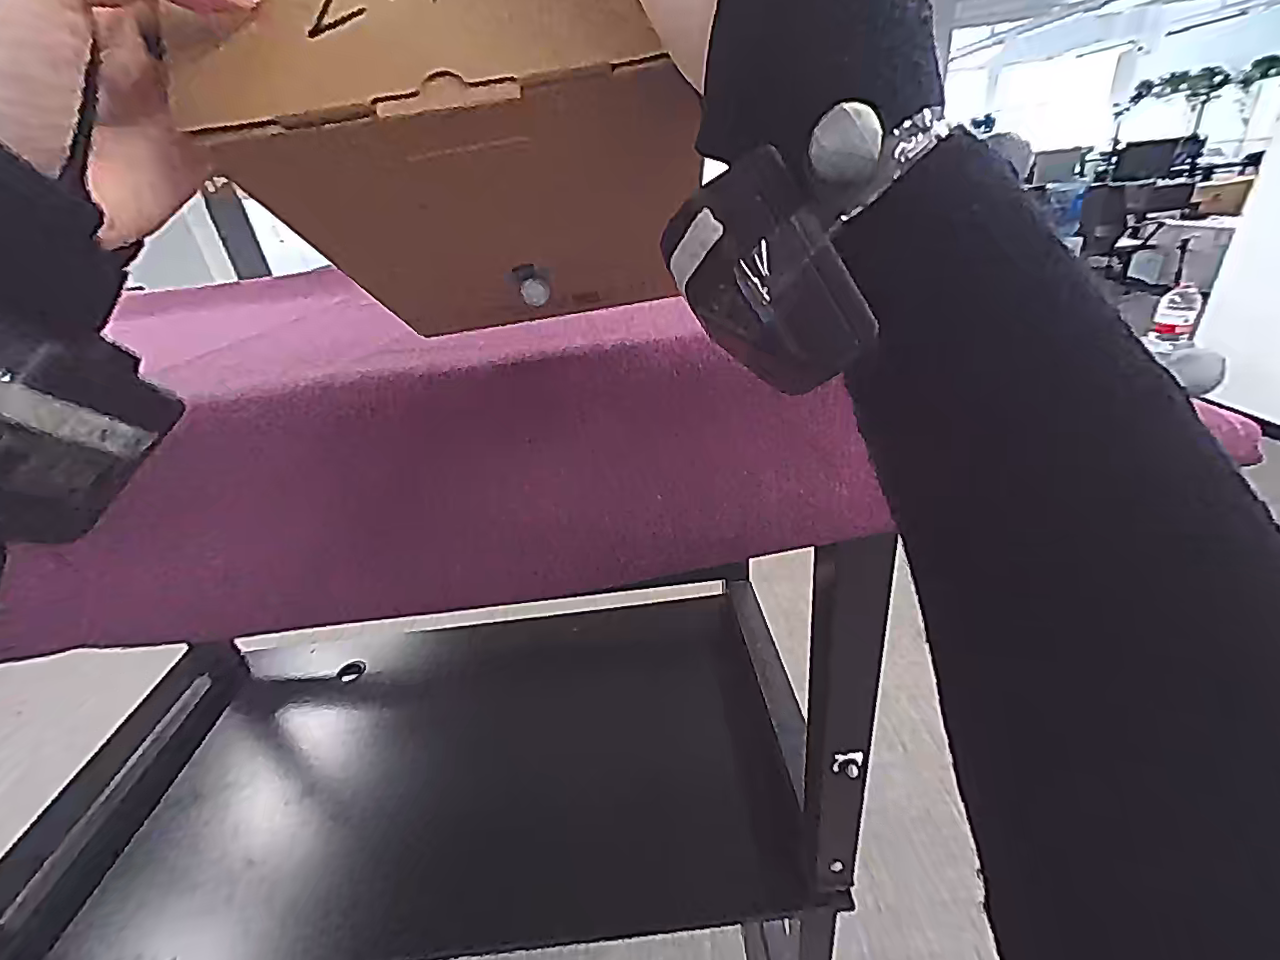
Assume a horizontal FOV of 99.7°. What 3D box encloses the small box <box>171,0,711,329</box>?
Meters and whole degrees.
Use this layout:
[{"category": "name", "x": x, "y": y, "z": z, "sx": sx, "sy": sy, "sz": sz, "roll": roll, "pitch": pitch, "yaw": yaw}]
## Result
[{"category": "small box", "x": -0.065, "y": -0.194, "z": 0.253, "sx": 0.168, "sy": 0.179, "sz": 0.176, "roll": -8, "pitch": -7, "yaw": 2}]
